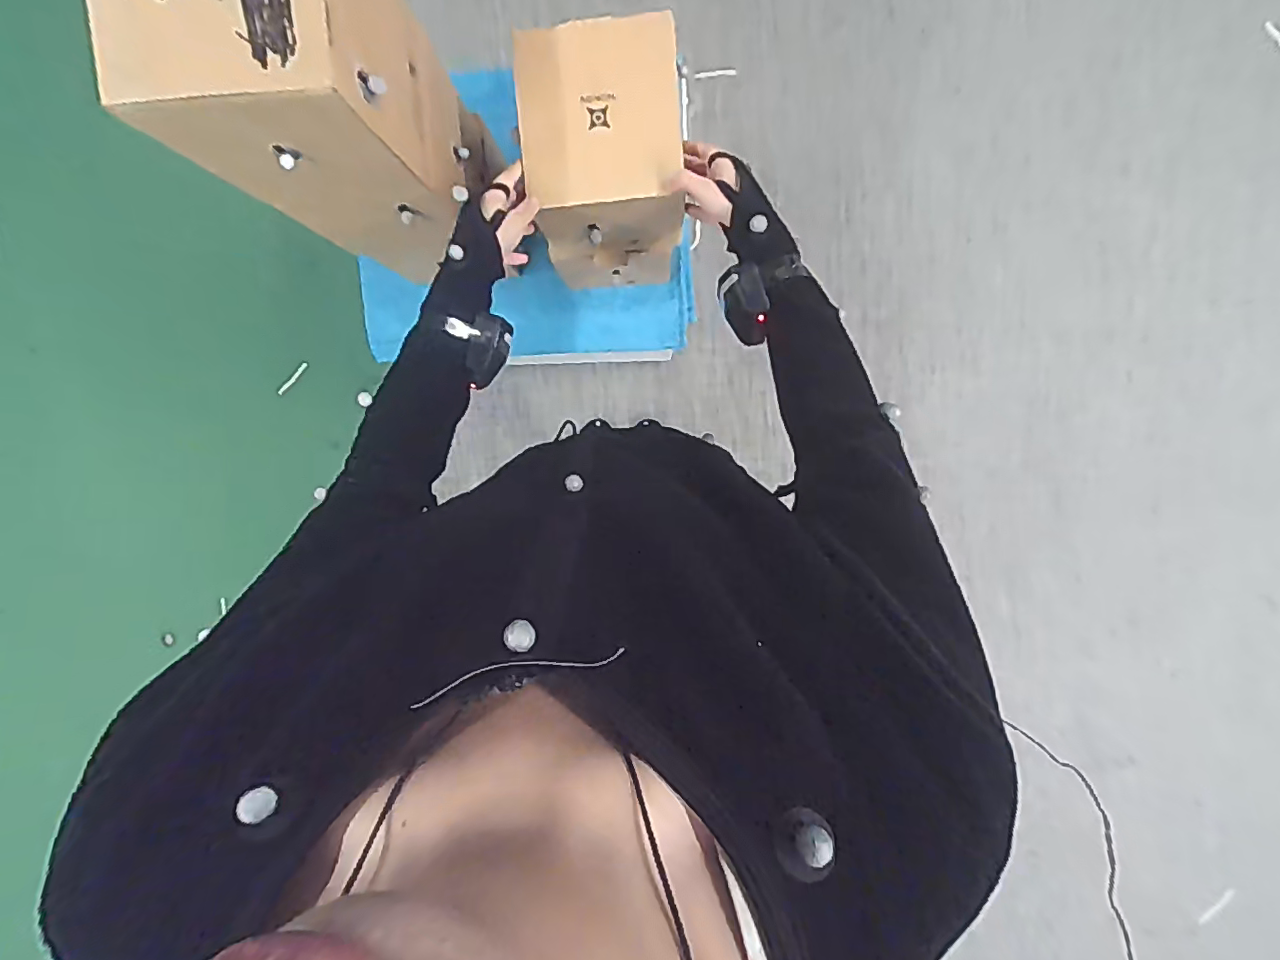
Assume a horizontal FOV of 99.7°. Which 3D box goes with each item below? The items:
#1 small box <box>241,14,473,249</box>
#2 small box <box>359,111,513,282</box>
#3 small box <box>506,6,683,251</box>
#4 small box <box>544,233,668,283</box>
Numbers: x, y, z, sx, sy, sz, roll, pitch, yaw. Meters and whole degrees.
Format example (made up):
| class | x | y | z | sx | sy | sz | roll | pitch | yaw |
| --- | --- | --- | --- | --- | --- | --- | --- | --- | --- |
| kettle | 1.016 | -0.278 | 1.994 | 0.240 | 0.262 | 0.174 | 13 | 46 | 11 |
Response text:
| class | x | y | z | sx | sy | sz | roll | pitch | yaw |
| --- | --- | --- | --- | --- | --- | --- | --- | --- | --- |
| small box | -0.299 | -0.377 | 0.615 | 0.179 | 0.176 | 0.168 | -4 | 95 | 1 |
| small box | -0.288 | -0.394 | 0.778 | 0.179 | 0.176 | 0.168 | -4 | 95 | 2 |
| small box | -0.040 | -0.374 | 0.613 | 0.168 | 0.176 | 0.179 | -6 | 95 | 2 |
| small box | -0.045 | -0.390 | 0.776 | 0.168 | 0.176 | 0.179 | -3 | 96 | 1 |
